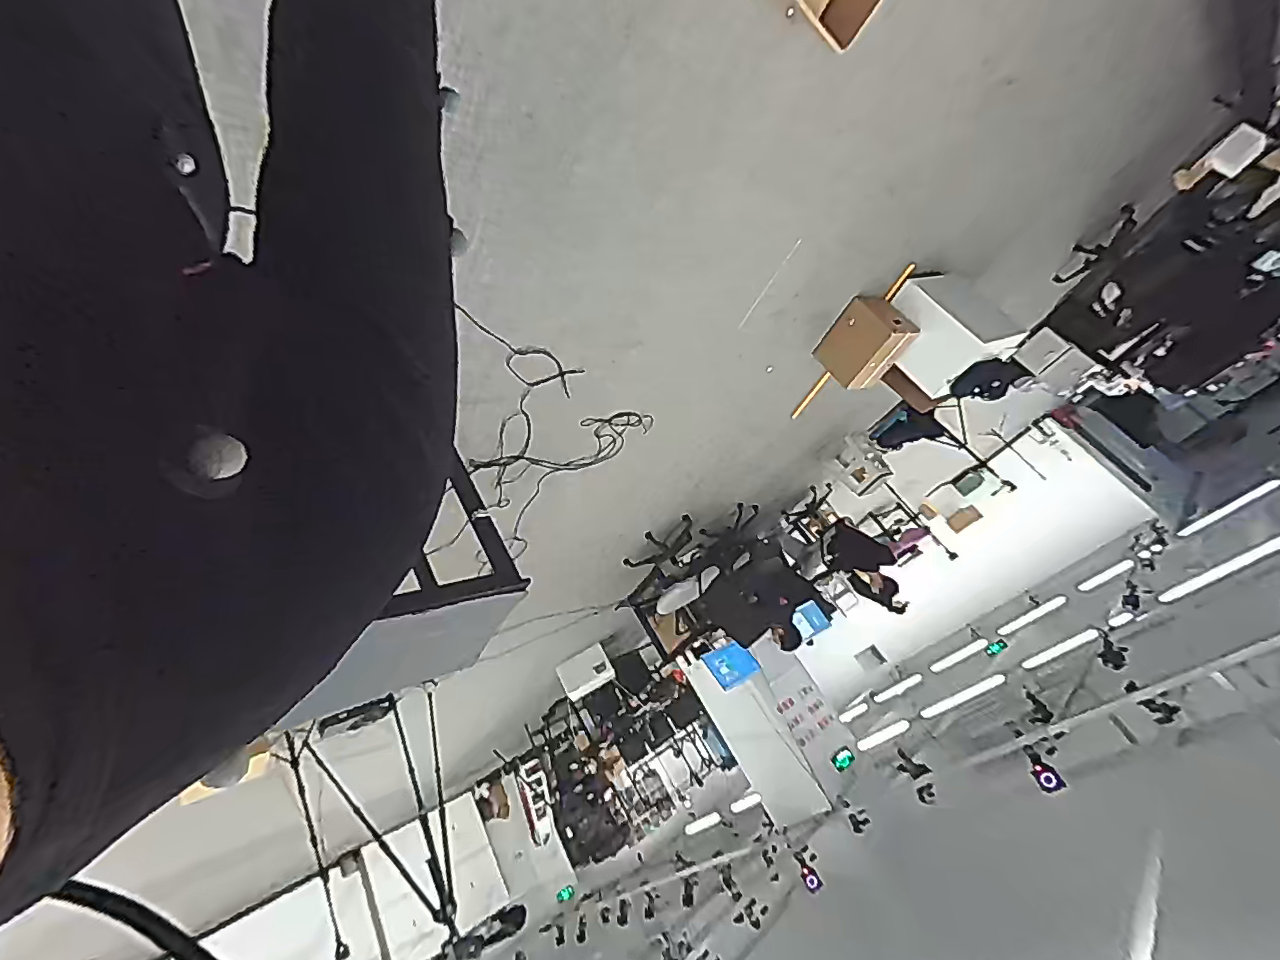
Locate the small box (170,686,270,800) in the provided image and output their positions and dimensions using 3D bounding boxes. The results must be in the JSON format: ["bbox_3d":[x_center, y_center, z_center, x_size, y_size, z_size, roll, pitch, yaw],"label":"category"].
[{"bbox_3d":[-1.020,0.631,1.311,0.168,0.176,0.179,-6,144,-45],"label":"small box"}]
